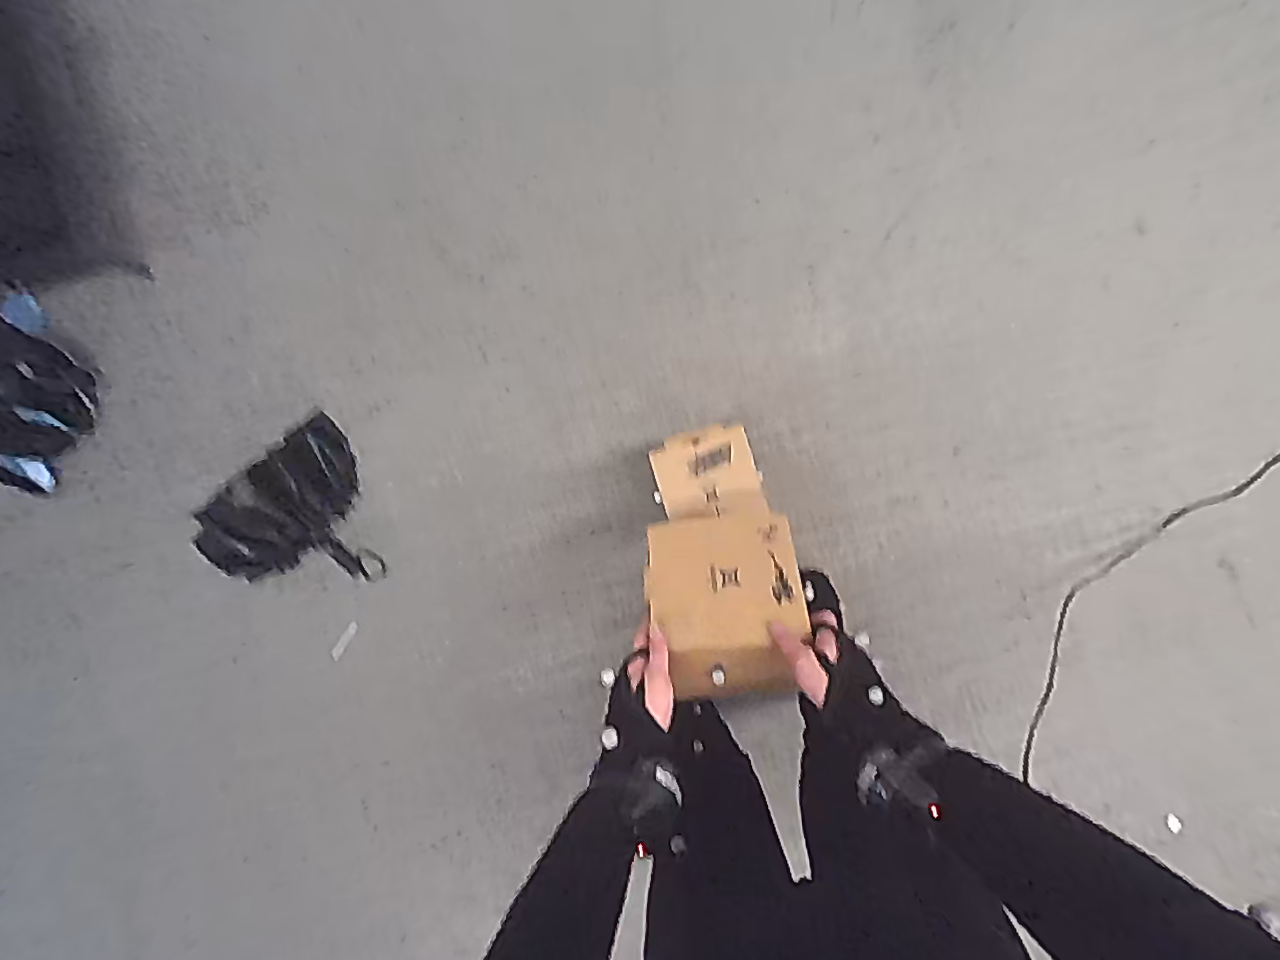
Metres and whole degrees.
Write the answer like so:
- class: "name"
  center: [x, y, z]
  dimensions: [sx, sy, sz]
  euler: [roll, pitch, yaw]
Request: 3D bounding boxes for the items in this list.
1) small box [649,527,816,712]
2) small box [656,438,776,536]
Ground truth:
- class: "small box"
  center: [0.111, 0.179, 0.674]
  dimensions: [0.179, 0.176, 0.168]
  euler: [-6, 50, 7]
- class: "small box"
  center: [0.133, 0.036, 0.978]
  dimensions: [0.168, 0.176, 0.179]
  euler: [-18, 89, 6]
